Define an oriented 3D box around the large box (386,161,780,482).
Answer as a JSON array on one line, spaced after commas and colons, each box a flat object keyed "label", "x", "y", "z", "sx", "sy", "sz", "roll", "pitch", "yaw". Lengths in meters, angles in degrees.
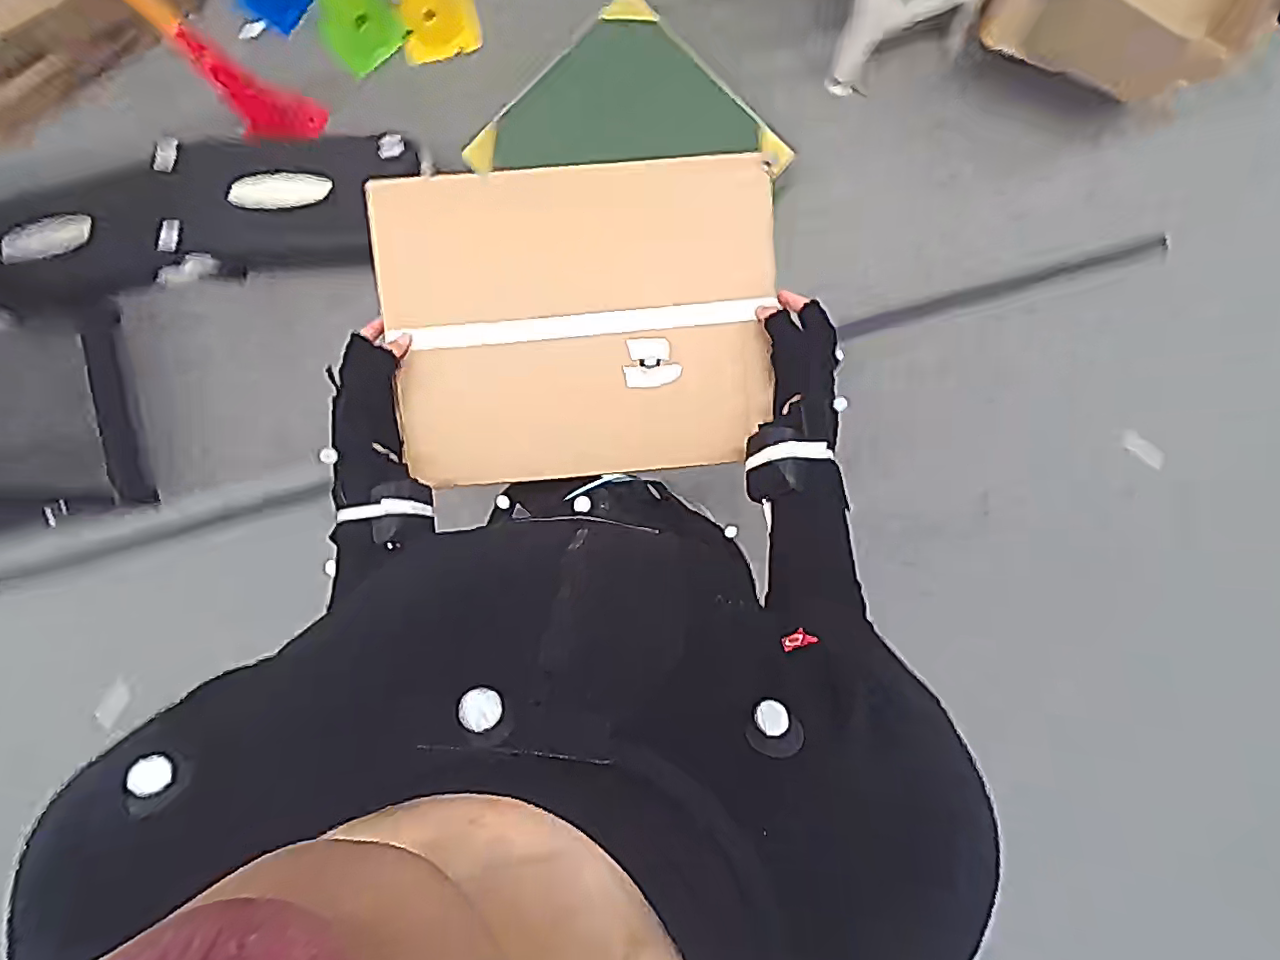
[{"label": "large box", "x": -0.060, "y": -0.181, "z": 0.724, "sx": 0.408, "sy": 0.320, "sz": 0.320, "roll": -4, "pitch": 97, "yaw": -1}]
